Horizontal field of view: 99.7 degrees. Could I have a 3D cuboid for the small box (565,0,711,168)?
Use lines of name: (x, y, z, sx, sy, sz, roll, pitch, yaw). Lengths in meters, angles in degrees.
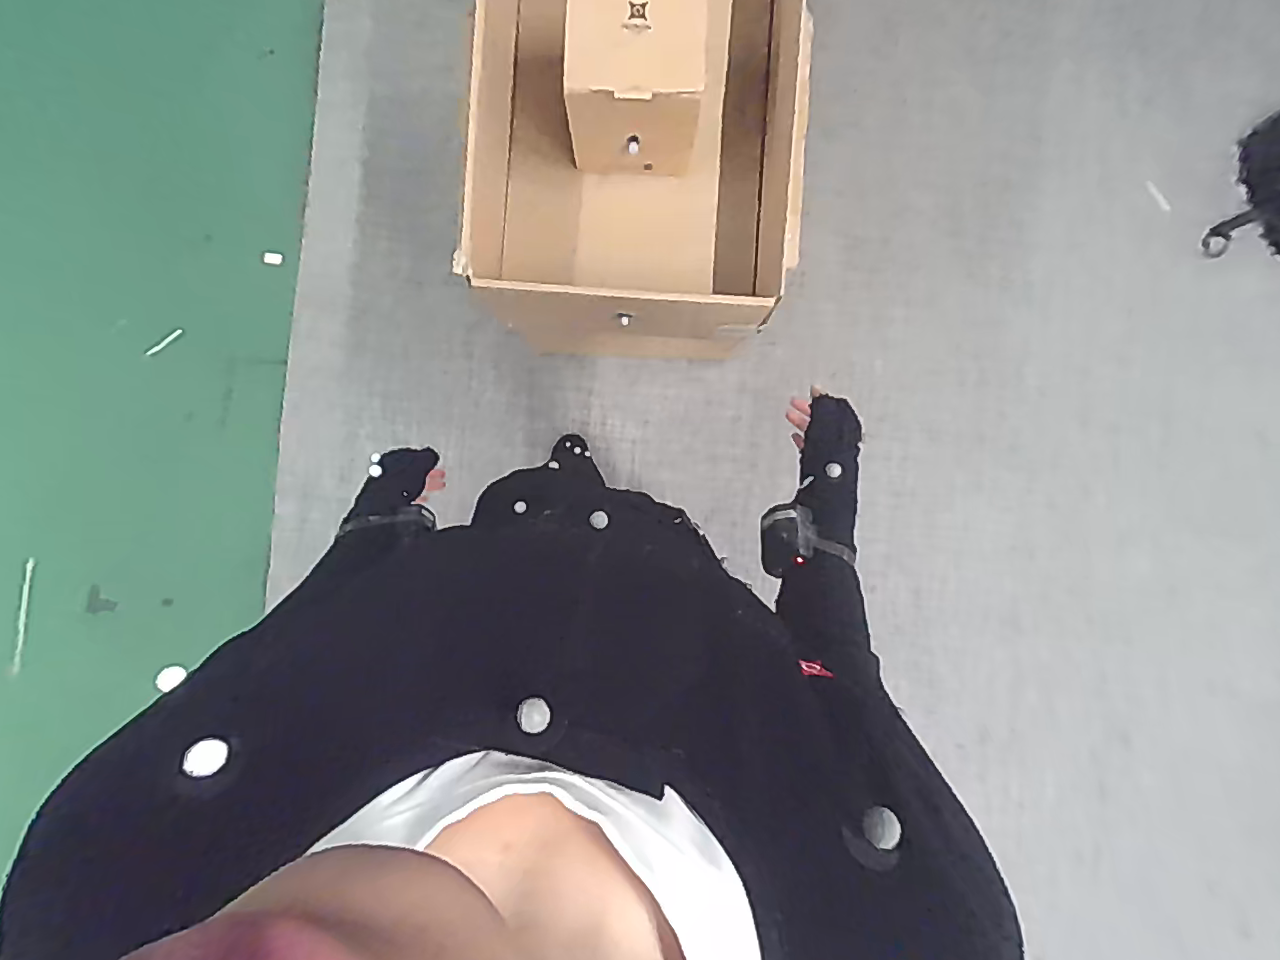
small box: (0.001, -0.536, 0.701, 0.168, 0.176, 0.179, 3, 90, 0)
